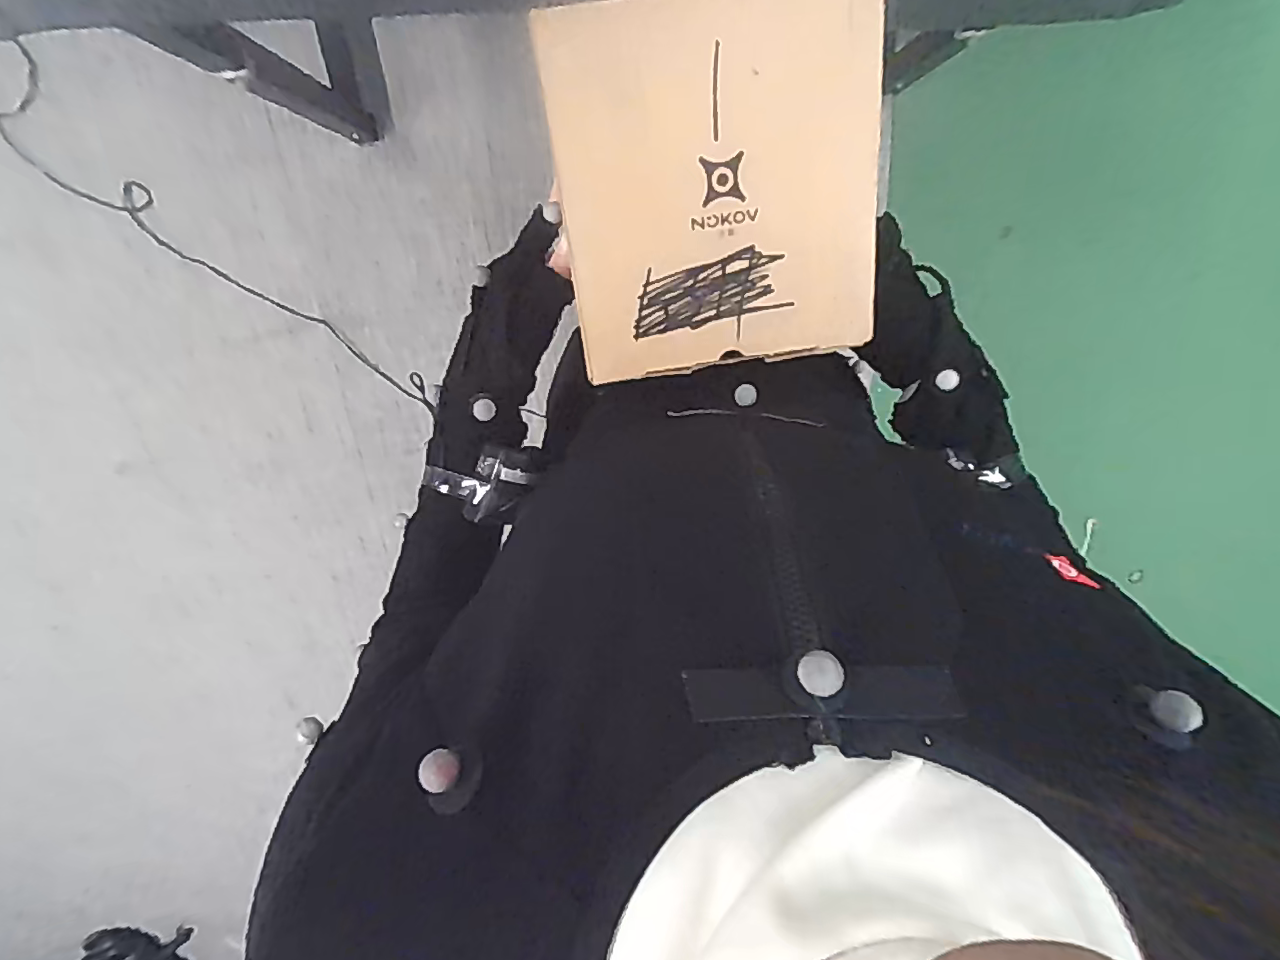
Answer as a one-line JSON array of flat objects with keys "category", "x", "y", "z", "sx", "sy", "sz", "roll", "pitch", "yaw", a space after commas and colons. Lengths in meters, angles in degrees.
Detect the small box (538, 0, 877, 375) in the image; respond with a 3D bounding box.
[{"category": "small box", "x": 0.036, "y": -0.182, "z": 0.363, "sx": 0.168, "sy": 0.176, "sz": 0.179, "roll": -8, "pitch": 113, "yaw": -1}]
